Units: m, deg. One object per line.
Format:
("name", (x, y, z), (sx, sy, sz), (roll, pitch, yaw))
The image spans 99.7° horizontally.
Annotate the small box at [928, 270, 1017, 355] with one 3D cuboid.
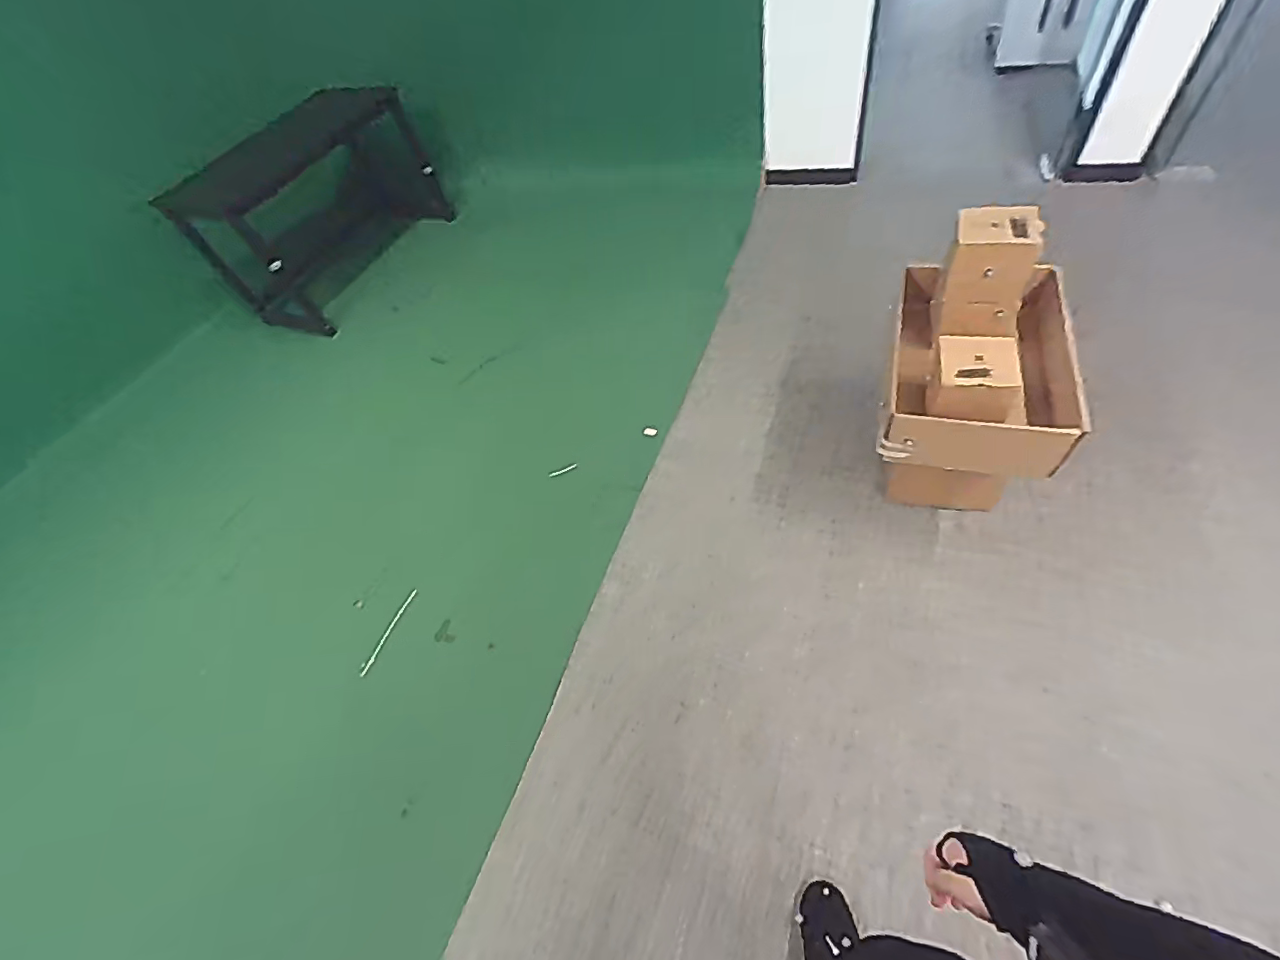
("small box", (0.920, -0.466, 1.514), (0.179, 0.176, 0.168), (6, 55, 16))
